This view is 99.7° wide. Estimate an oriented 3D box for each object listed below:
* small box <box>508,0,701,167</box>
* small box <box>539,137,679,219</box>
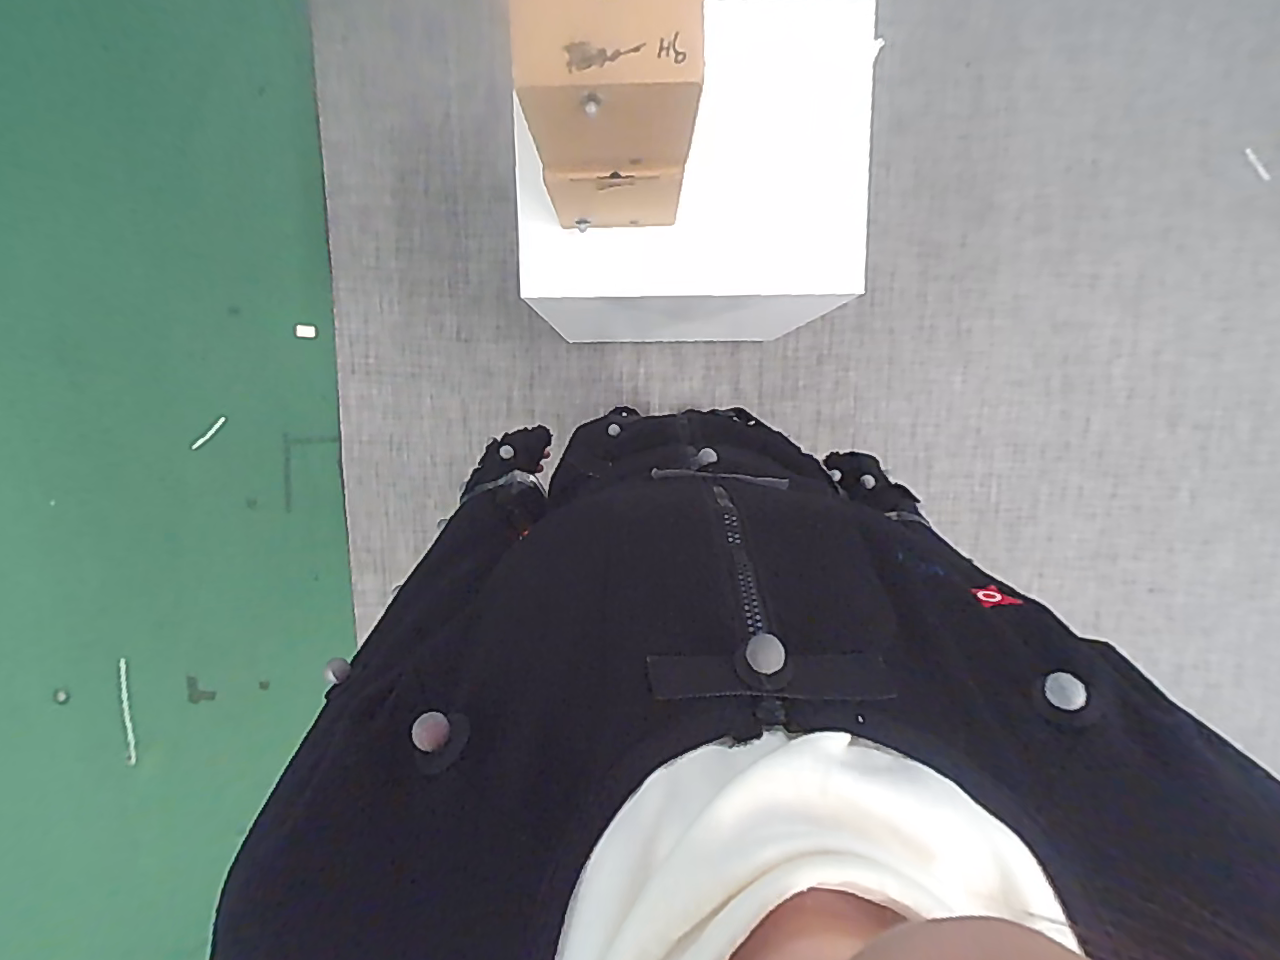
[{"bbox_3d":[-0.031,-0.439,0.532,0.168,0.176,0.179,-2,97,0],"label":"small box"},{"bbox_3d":[-0.036,-0.450,0.694,0.168,0.176,0.179,-1,97,0],"label":"small box"}]
